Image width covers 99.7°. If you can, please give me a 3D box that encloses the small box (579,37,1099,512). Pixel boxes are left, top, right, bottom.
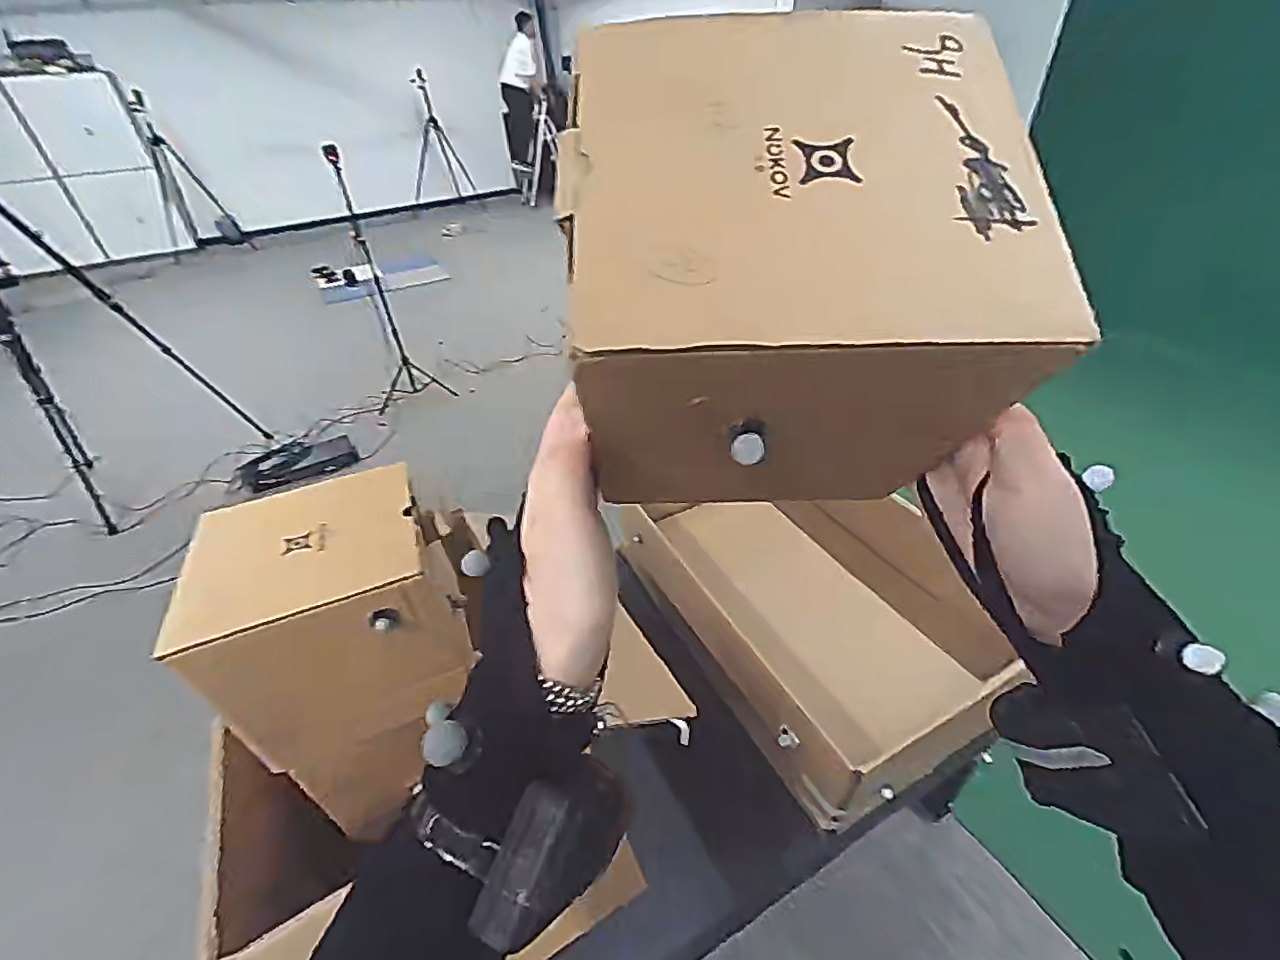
[{"bbox_3d":[0.068,-0.083,0.283,0.179,0.176,0.168,-1,71,1],"label":"small box"}]

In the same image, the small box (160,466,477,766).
[{"bbox_3d":[-0.265,0.118,0.487,0.179,0.176,0.168,-17,40,-17],"label":"small box"}]
